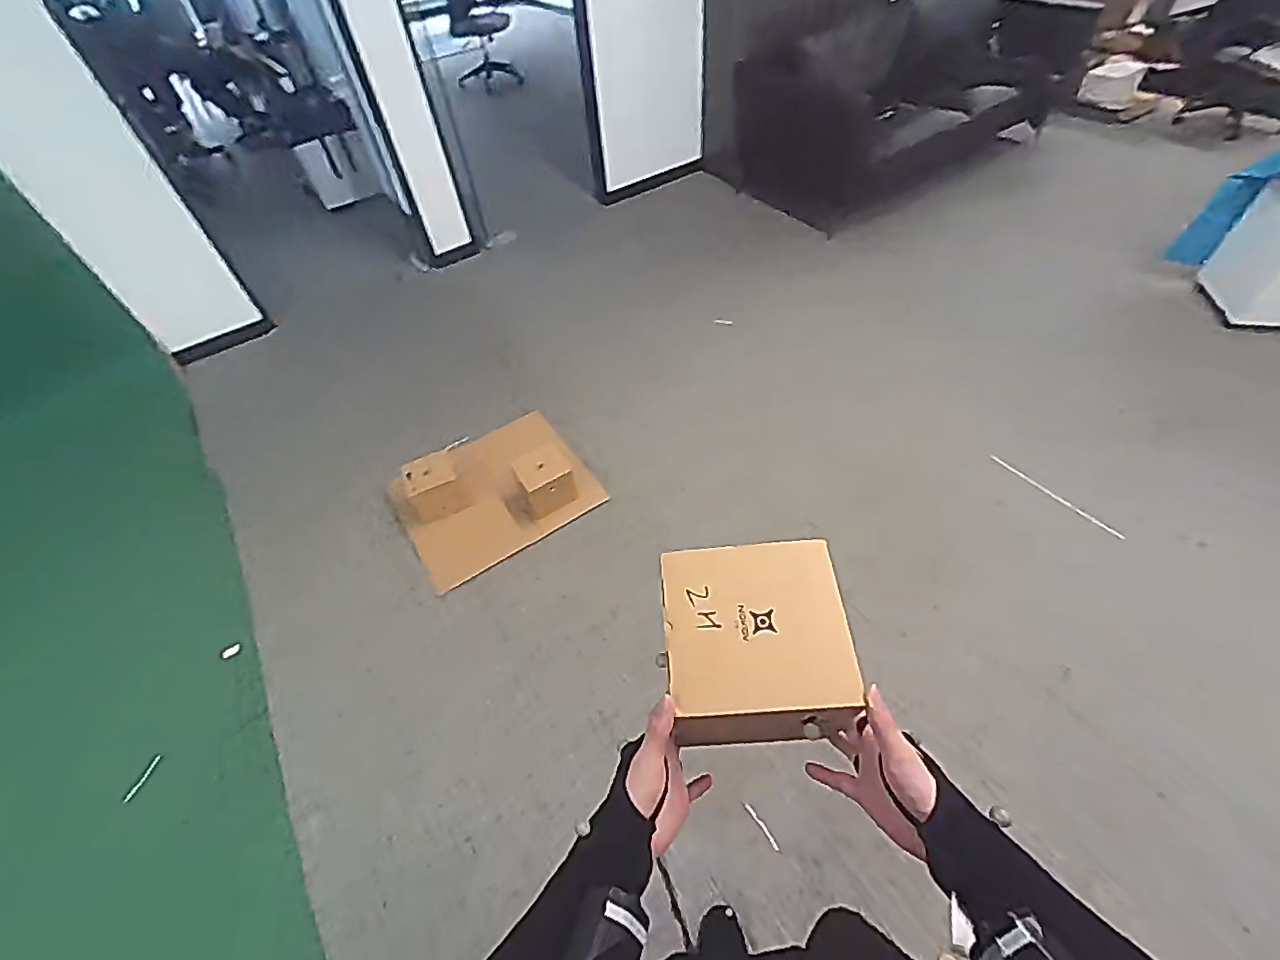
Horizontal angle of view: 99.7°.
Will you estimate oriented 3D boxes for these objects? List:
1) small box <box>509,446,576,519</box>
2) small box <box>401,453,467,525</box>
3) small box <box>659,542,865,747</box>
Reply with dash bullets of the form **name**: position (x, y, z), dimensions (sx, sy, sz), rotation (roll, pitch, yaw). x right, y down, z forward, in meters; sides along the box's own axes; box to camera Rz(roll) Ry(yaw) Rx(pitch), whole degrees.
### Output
- **small box**: position (-0.354, 0.013, 1.993), dimensions (0.179, 0.176, 0.168), rotation (-29, 55, -18)
- **small box**: position (-0.758, 0.035, 2.005), dimensions (0.179, 0.176, 0.168), rotation (-23, 52, -14)
- **small box**: position (0.115, 0.183, 0.585), dimensions (0.179, 0.176, 0.168), rotation (-6, 55, 3)
